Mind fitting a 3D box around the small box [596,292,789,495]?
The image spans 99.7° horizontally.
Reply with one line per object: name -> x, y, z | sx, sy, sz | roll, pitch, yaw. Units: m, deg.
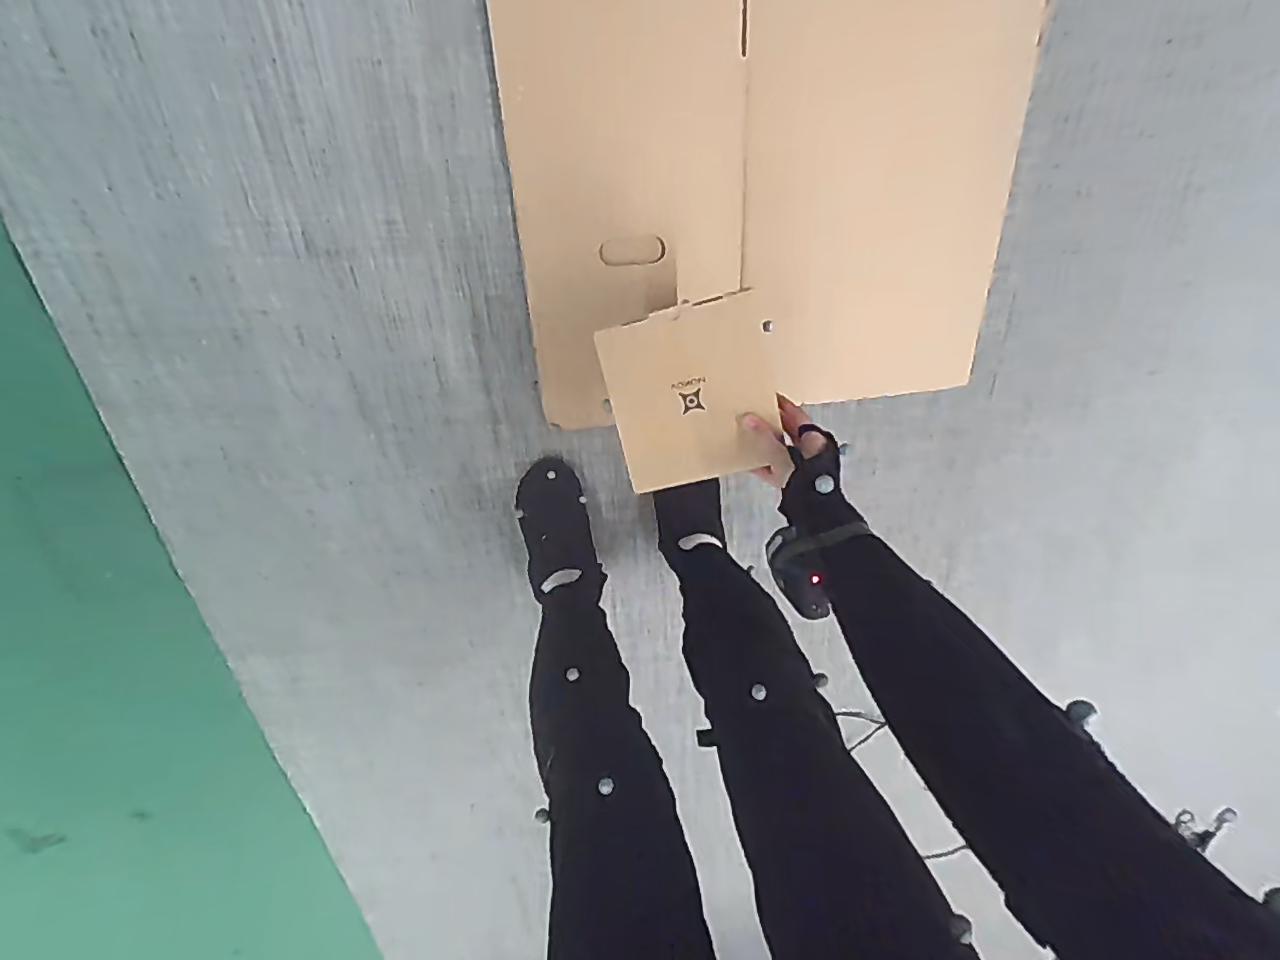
small box -> 0.064, -0.100, 0.617 | 0.168, 0.176, 0.179 | -13, 102, 10
